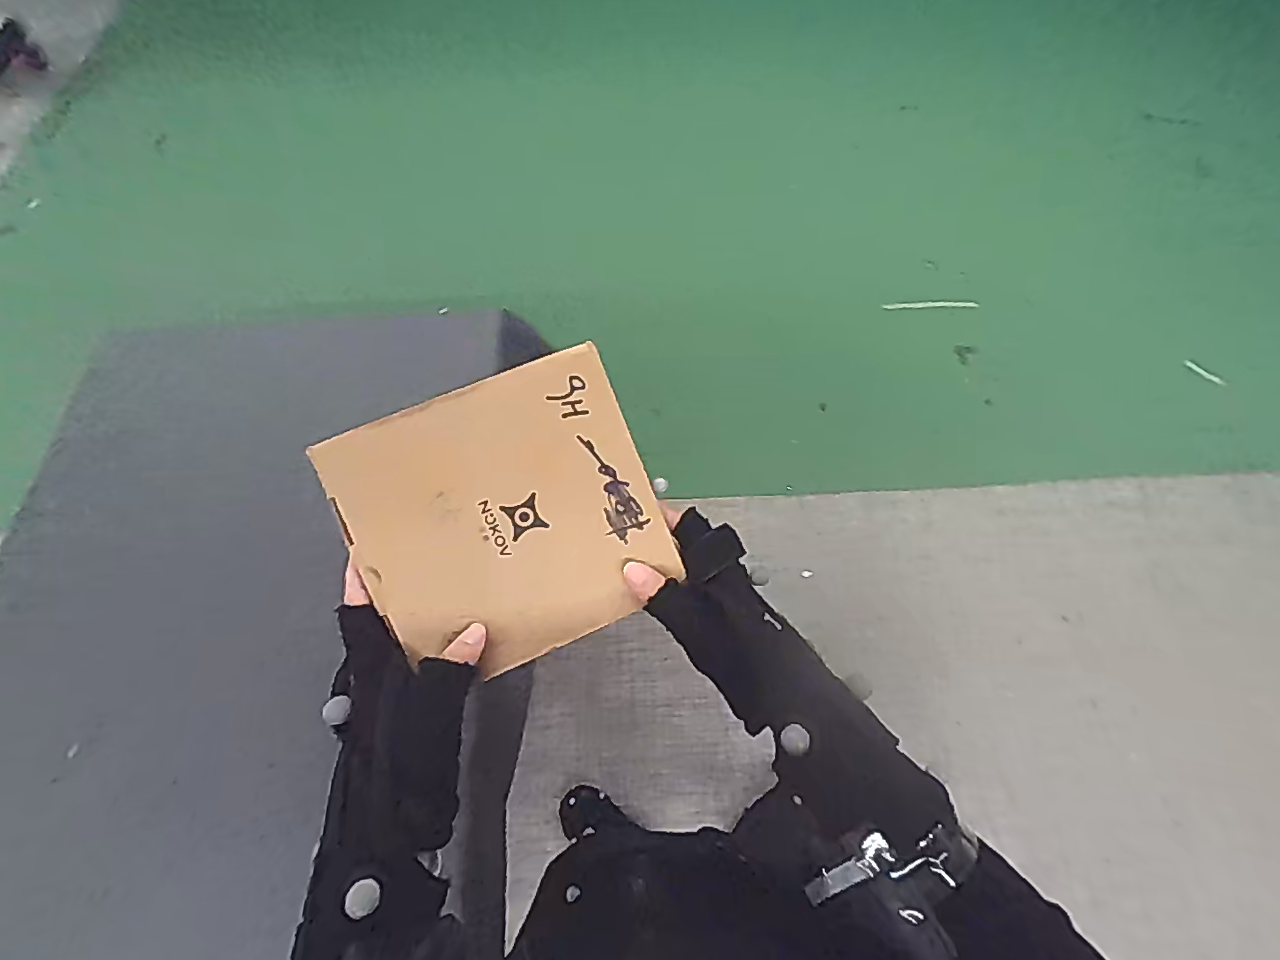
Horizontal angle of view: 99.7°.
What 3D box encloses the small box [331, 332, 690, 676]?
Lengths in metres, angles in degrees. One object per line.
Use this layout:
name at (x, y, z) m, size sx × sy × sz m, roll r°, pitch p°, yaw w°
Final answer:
small box at (-0.086, 0.014, 0.413) m, size 0.179 × 0.176 × 0.168 m, roll -24°, pitch 94°, yaw -8°
